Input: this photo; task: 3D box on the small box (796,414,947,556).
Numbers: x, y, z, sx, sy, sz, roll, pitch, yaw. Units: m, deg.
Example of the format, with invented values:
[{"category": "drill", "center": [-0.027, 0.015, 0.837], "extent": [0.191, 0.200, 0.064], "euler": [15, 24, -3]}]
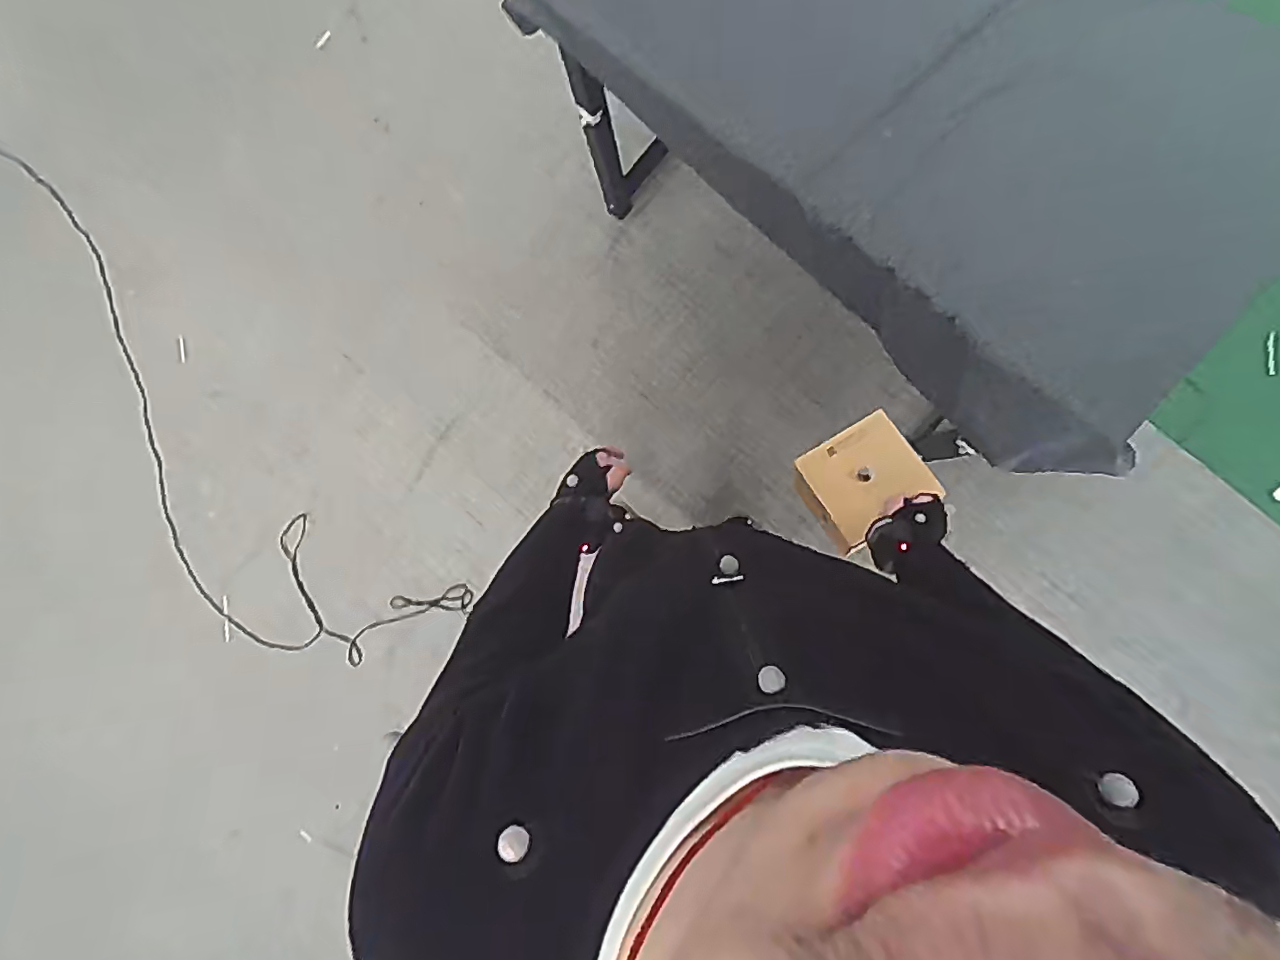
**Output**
[{"category": "small box", "center": [0.383, 0.010, 0.928], "extent": [0.168, 0.179, 0.176], "euler": [-34, 71, 9]}]
